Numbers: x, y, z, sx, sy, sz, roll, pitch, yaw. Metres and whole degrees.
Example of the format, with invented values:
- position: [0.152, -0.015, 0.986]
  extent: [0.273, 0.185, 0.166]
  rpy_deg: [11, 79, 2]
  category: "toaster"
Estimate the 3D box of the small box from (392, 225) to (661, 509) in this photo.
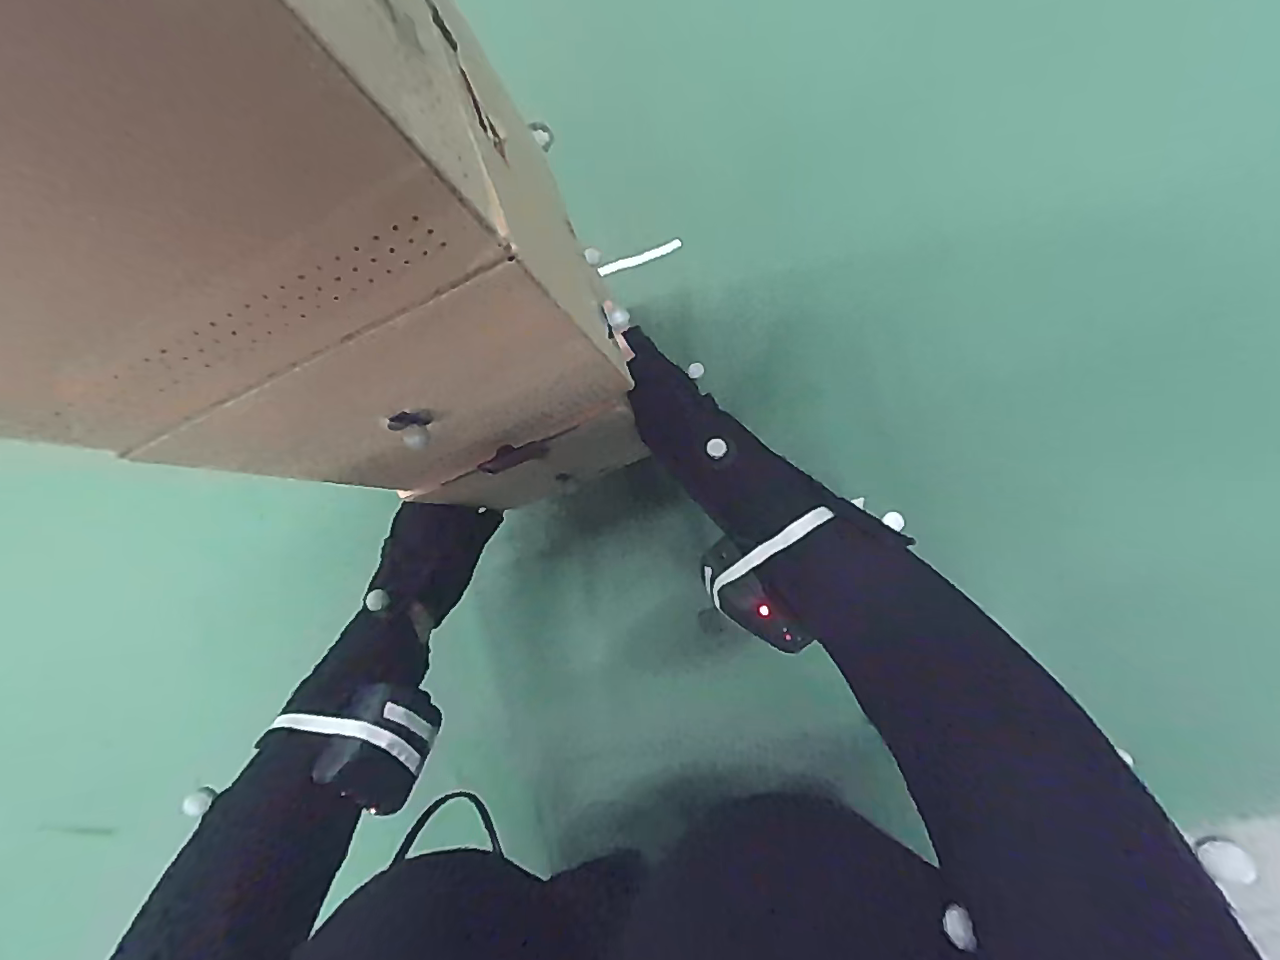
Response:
- position: [-0.097, -0.085, 0.442]
  extent: [0.168, 0.176, 0.179]
  rpy_deg: [-22, 80, 11]
  category: "small box"

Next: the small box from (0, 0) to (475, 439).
- position: [-0.172, -0.125, 0.126]
  extent: [0.179, 0.176, 0.168]
  rpy_deg: [-23, 78, 9]
  category: "small box"

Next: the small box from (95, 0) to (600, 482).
- position: [-0.132, -0.108, 0.280]
  extent: [0.179, 0.176, 0.168]
  rpy_deg: [-19, 78, 10]
  category: "small box"
